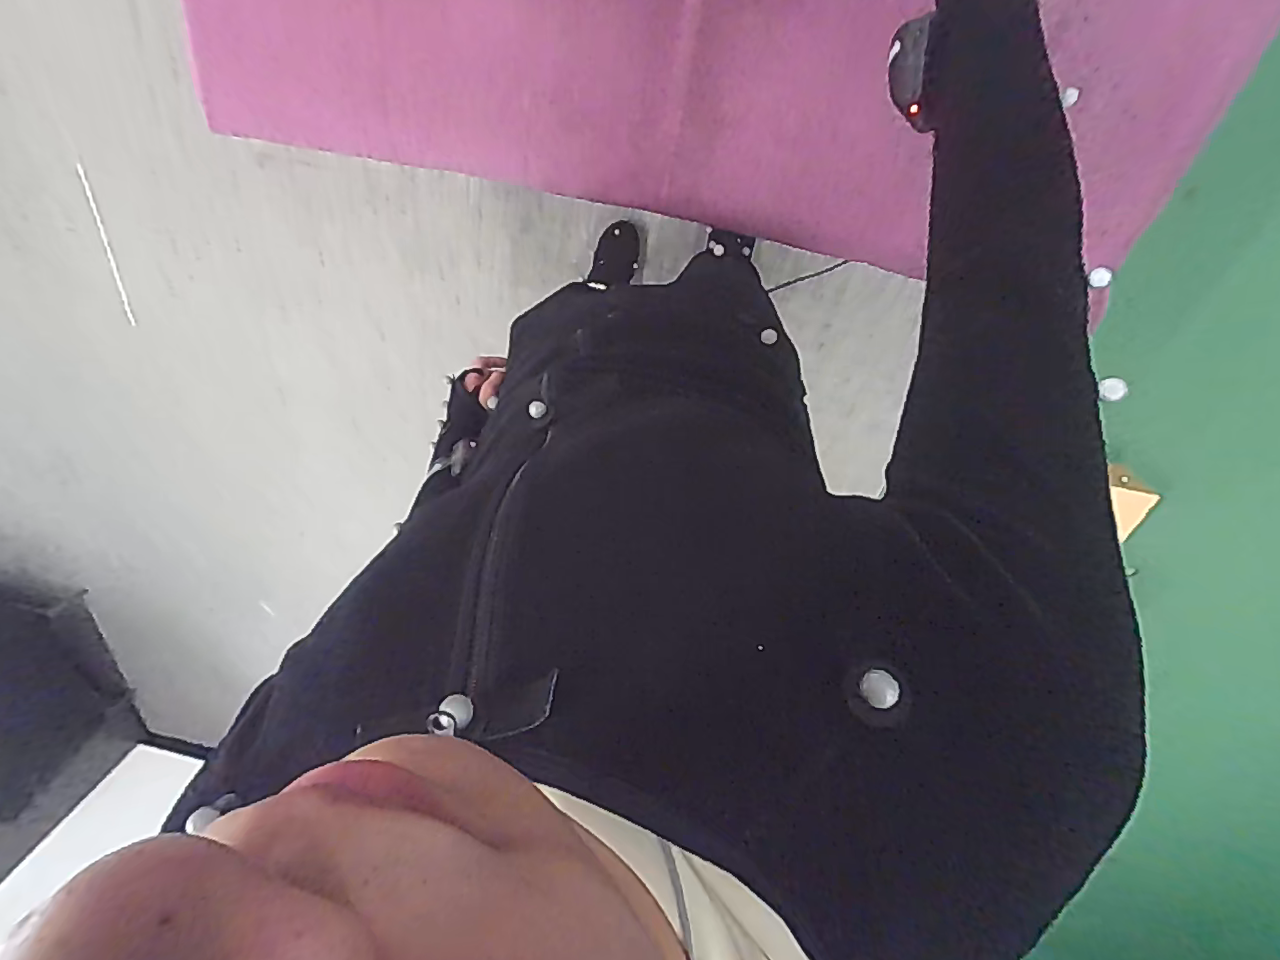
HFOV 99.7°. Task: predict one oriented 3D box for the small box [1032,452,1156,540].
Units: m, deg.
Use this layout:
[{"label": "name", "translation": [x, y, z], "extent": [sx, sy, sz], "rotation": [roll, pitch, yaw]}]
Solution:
[{"label": "small box", "translation": [1.255, 0.038, 1.513], "extent": [0.179, 0.176, 0.168], "rotation": [12, 123, 1]}]
